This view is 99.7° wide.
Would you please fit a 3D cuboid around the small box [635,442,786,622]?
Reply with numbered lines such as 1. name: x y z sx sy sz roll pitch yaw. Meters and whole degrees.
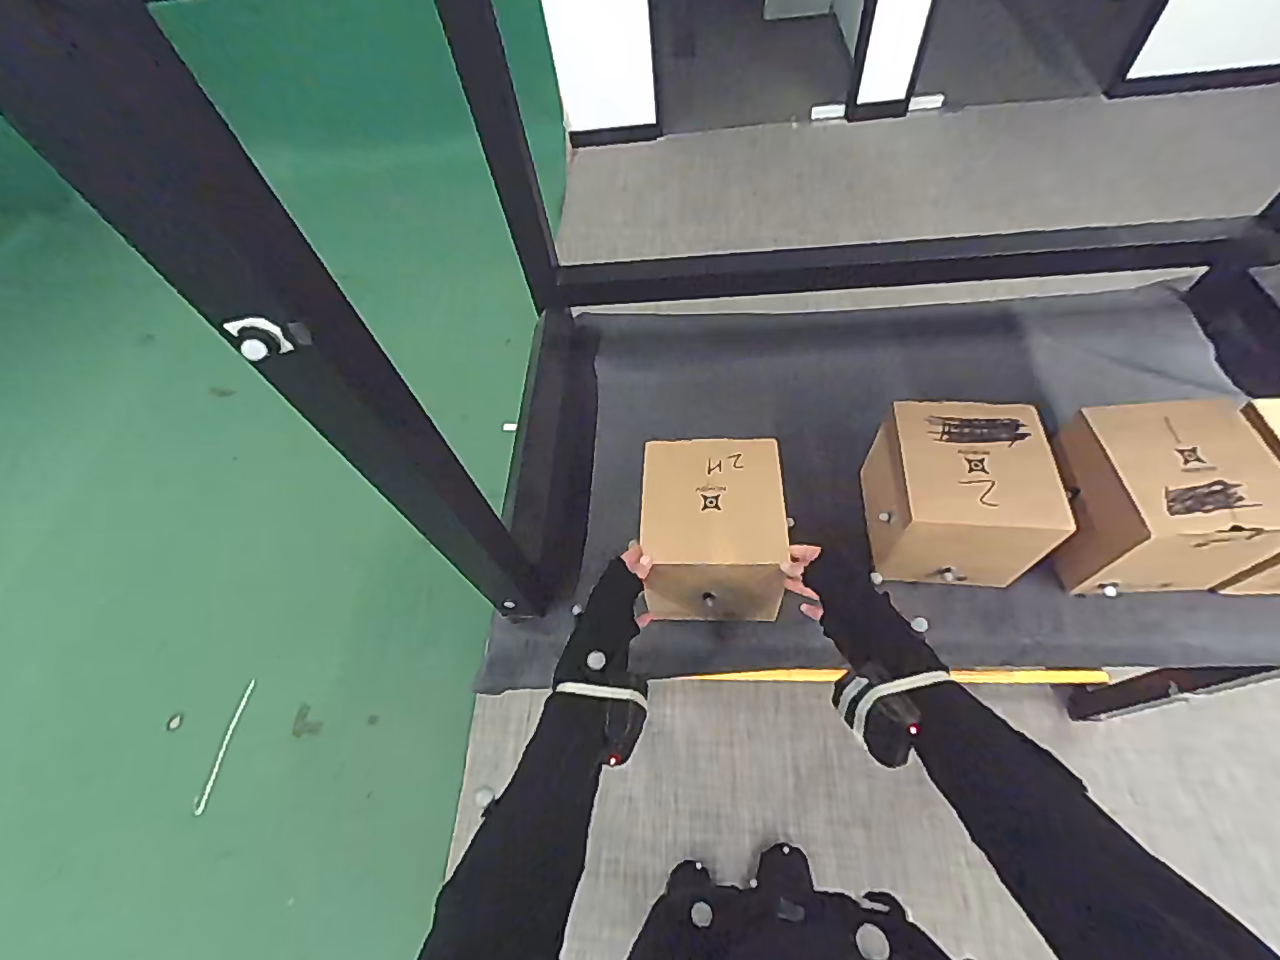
1. small box: 0.089 0.072 0.691 0.168 0.176 0.179 -1 54 6
